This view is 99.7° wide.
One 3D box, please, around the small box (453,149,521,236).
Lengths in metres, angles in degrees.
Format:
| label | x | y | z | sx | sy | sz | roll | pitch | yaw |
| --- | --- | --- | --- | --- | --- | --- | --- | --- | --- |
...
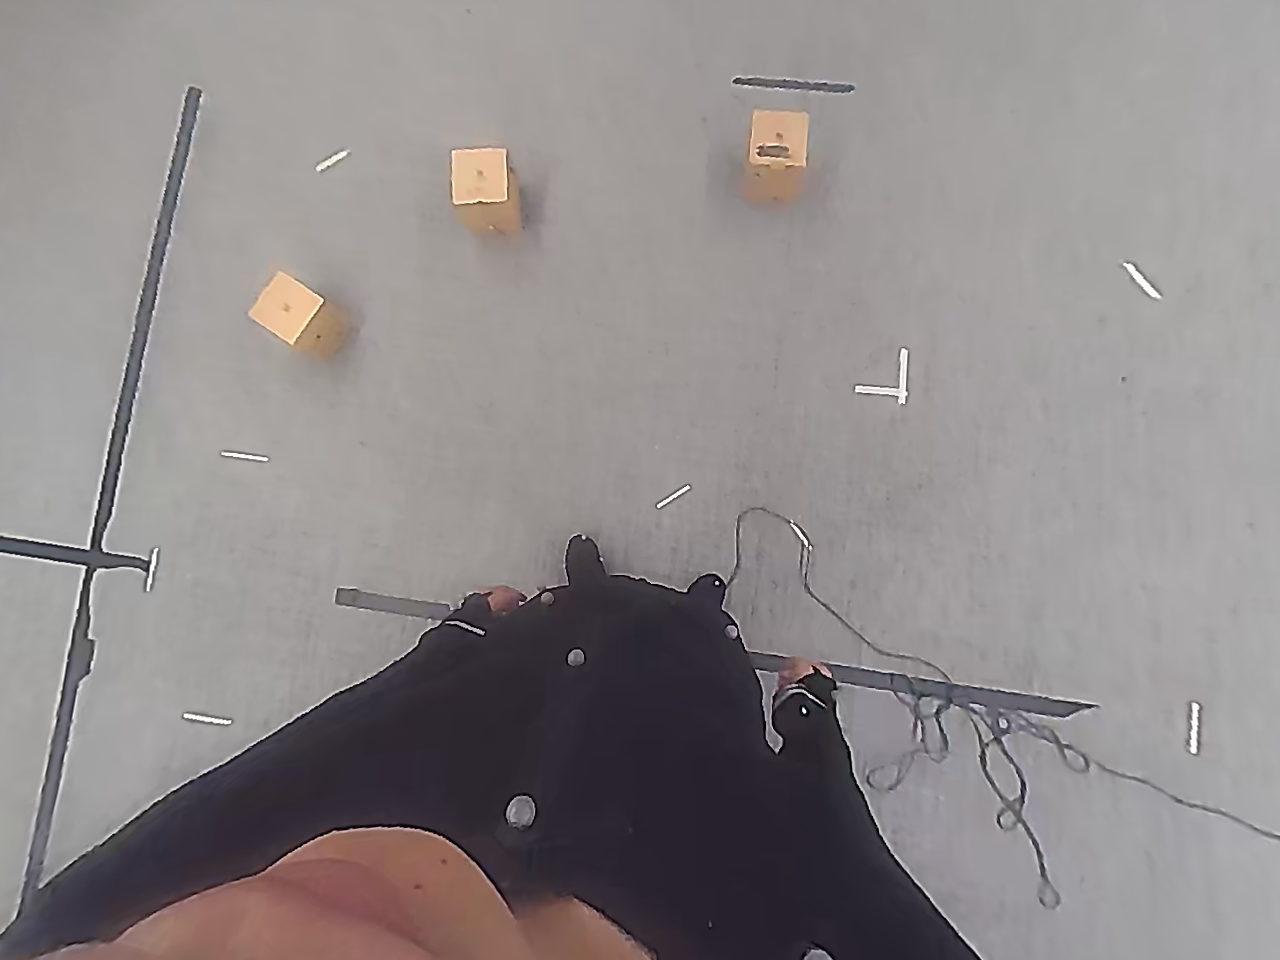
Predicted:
| label | x | y | z | sx | sy | sz | roll | pitch | yaw |
| --- | --- | --- | --- | --- | --- | --- | --- | --- | --- |
| small box | -0.471 | -0.887 | 1.677 | 0.168 | 0.176 | 0.179 | -3 | 85 | 1 |

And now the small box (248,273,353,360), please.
| label | x | y | z | sx | sy | sz | roll | pitch | yaw |
| --- | --- | --- | --- | --- | --- | --- | --- | --- | --- |
| small box | -1.028 | -0.489 | 1.656 | 0.179 | 0.176 | 0.168 | 33 | 86 | 5 |
